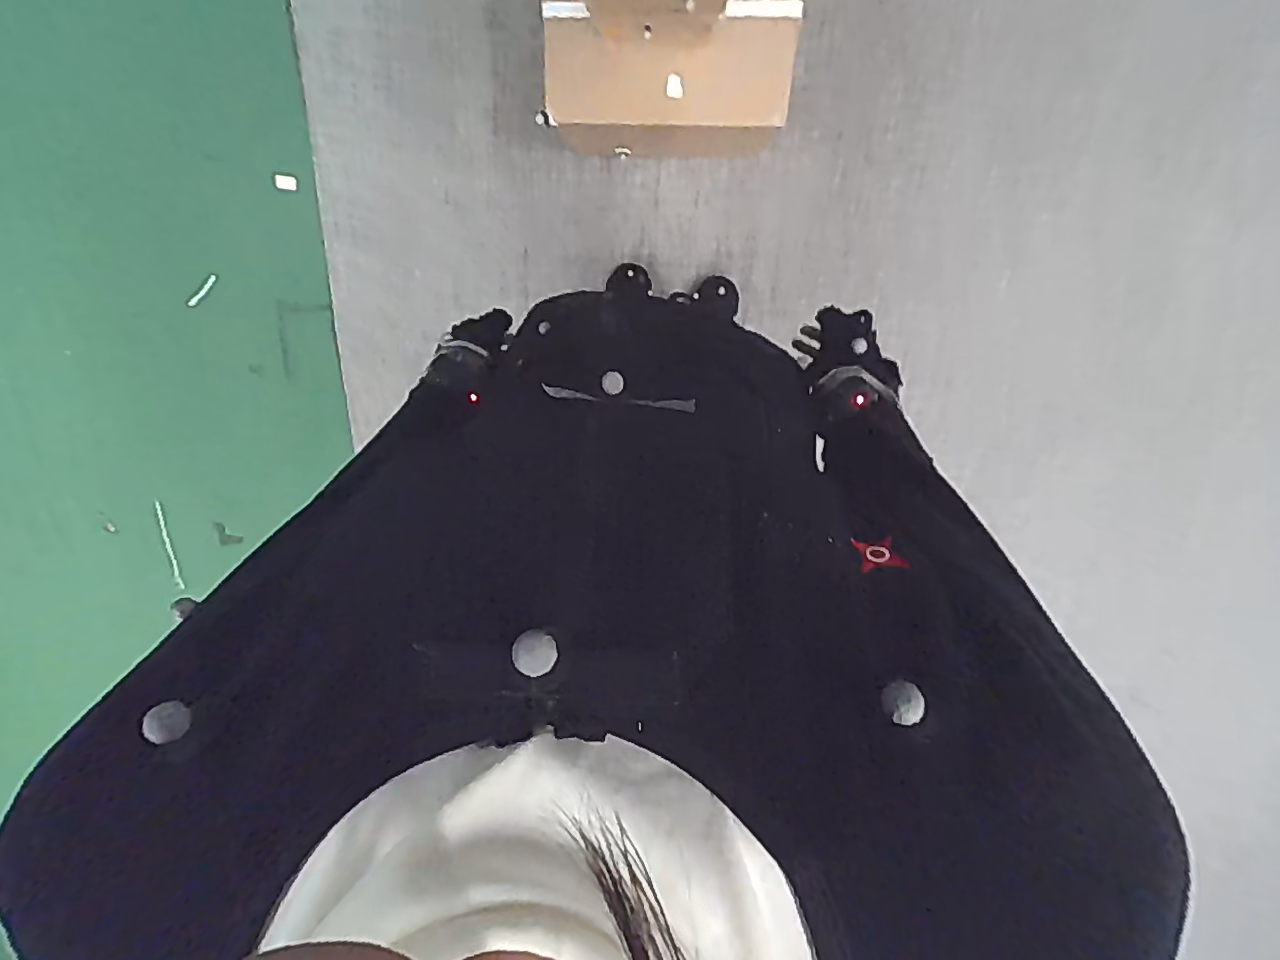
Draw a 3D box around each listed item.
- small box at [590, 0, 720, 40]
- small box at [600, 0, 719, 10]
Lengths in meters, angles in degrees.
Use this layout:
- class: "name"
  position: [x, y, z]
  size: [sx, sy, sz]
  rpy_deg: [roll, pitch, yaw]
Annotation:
- class: "small box"
  position: [0.026, -0.737, 0.753]
  size: [0.179, 0.176, 0.168]
  rpy_deg: [3, 119, 3]
- class: "small box"
  position: [0.019, -0.662, 0.610]
  size: [0.168, 0.176, 0.179]
  rpy_deg: [1, 117, 4]
